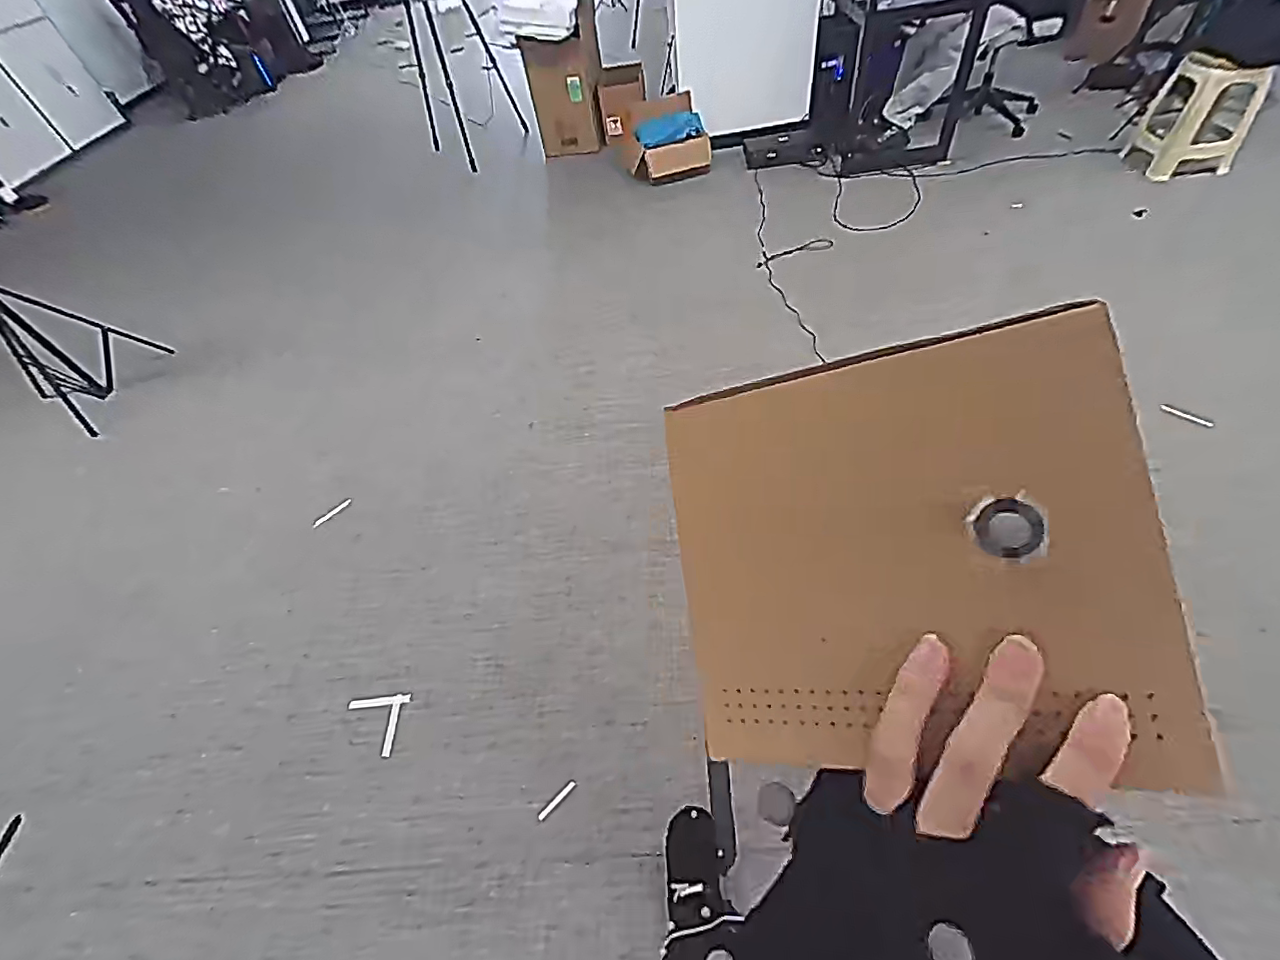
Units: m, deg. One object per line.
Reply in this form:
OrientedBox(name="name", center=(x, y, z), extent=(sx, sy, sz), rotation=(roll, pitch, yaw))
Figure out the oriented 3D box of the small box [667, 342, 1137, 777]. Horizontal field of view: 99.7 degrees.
OrientedBox(name="small box", center=(0.136, 0.046, 0.304), extent=(0.179, 0.168, 0.176), rotation=(-12, 81, 26))
